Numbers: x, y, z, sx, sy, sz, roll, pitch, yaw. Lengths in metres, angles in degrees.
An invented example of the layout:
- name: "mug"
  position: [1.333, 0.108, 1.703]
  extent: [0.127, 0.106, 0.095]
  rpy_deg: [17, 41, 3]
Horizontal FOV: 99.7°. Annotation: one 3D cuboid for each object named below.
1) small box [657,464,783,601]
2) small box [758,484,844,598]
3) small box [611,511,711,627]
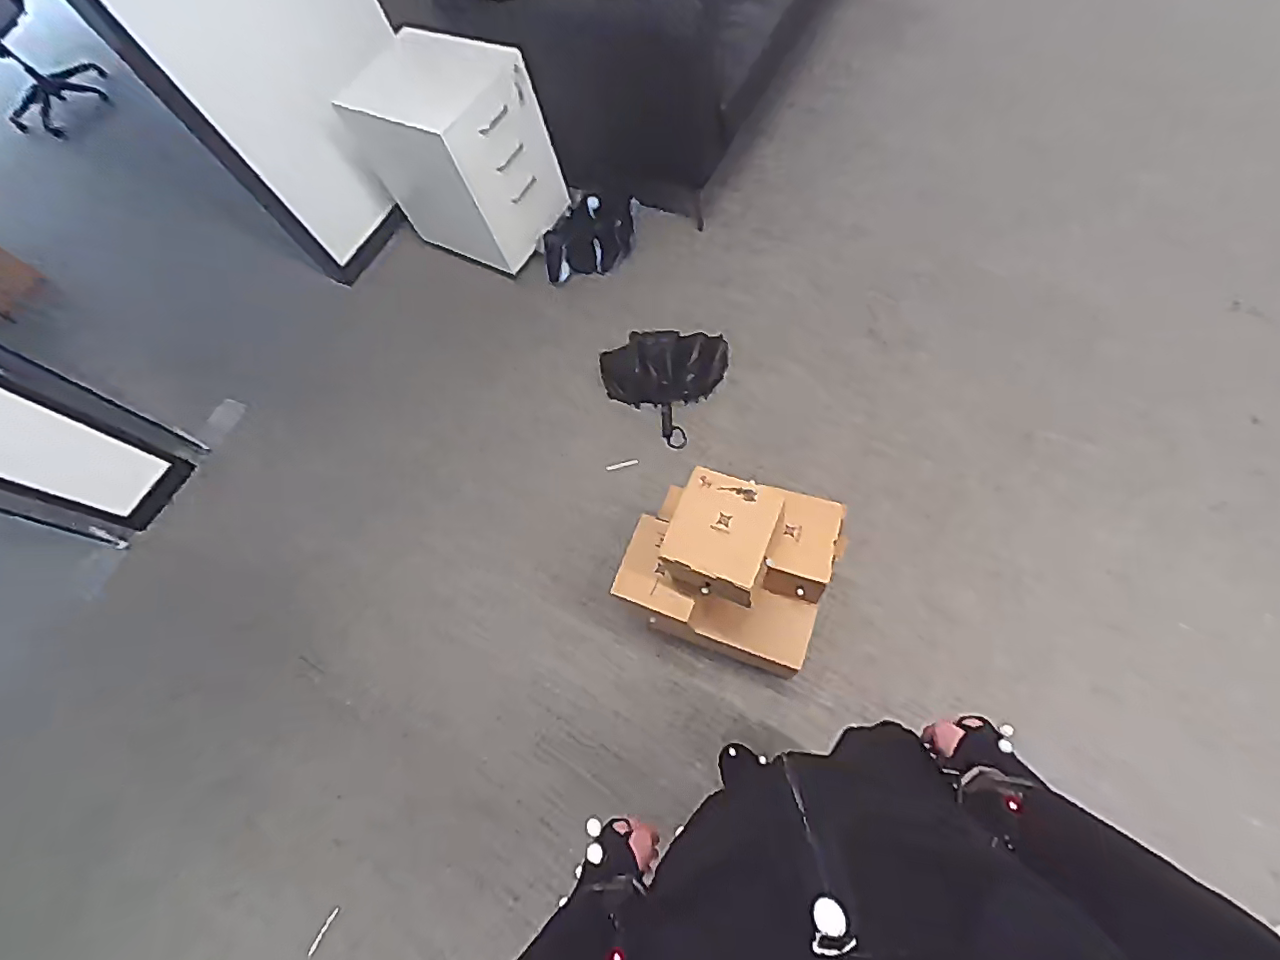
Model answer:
- name: "small box"
  position: [0.151, 0.102, 0.975]
  extent: [0.168, 0.176, 0.179]
  rpy_deg: [19, 74, 19]
- name: "small box"
  position: [0.304, 0.132, 1.116]
  extent: [0.179, 0.176, 0.168]
  rpy_deg: [13, 67, 18]
- name: "small box"
  position: [0.062, 0.192, 1.138]
  extent: [0.168, 0.176, 0.179]
  rpy_deg: [18, 74, 19]
